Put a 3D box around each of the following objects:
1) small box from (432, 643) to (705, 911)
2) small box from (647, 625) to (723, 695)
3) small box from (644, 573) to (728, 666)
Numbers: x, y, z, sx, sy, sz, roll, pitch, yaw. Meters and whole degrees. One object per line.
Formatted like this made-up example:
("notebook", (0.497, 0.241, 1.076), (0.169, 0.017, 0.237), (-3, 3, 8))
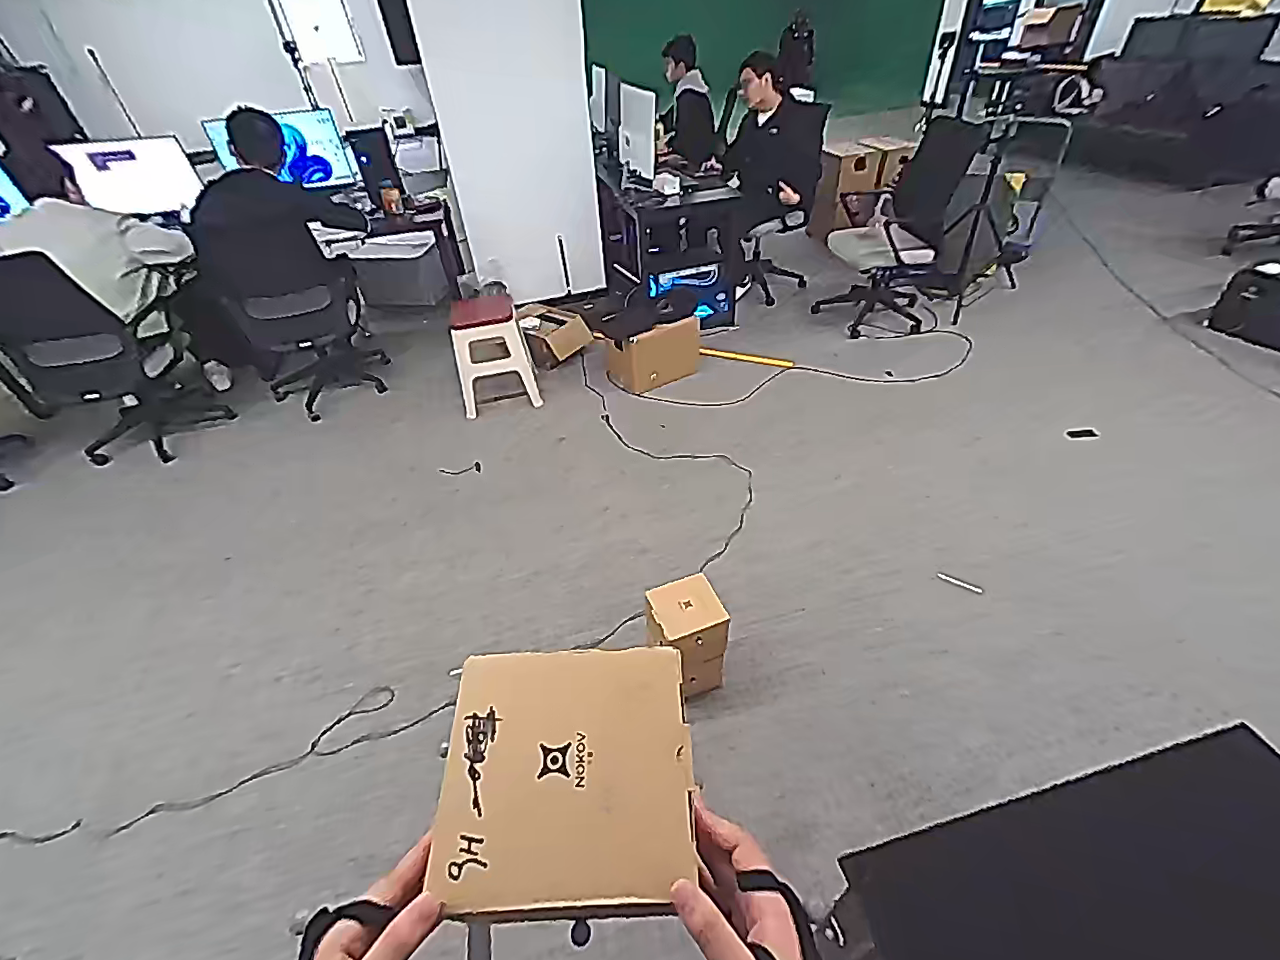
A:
("small box", (-0.048, 0.251, 0.455), (0.179, 0.176, 0.168), (-2, 48, -2))
("small box", (0.129, 0.513, 1.581), (0.179, 0.176, 0.168), (-16, 42, -11))
("small box", (0.125, 0.390, 1.476), (0.179, 0.176, 0.168), (-16, 43, -14))
